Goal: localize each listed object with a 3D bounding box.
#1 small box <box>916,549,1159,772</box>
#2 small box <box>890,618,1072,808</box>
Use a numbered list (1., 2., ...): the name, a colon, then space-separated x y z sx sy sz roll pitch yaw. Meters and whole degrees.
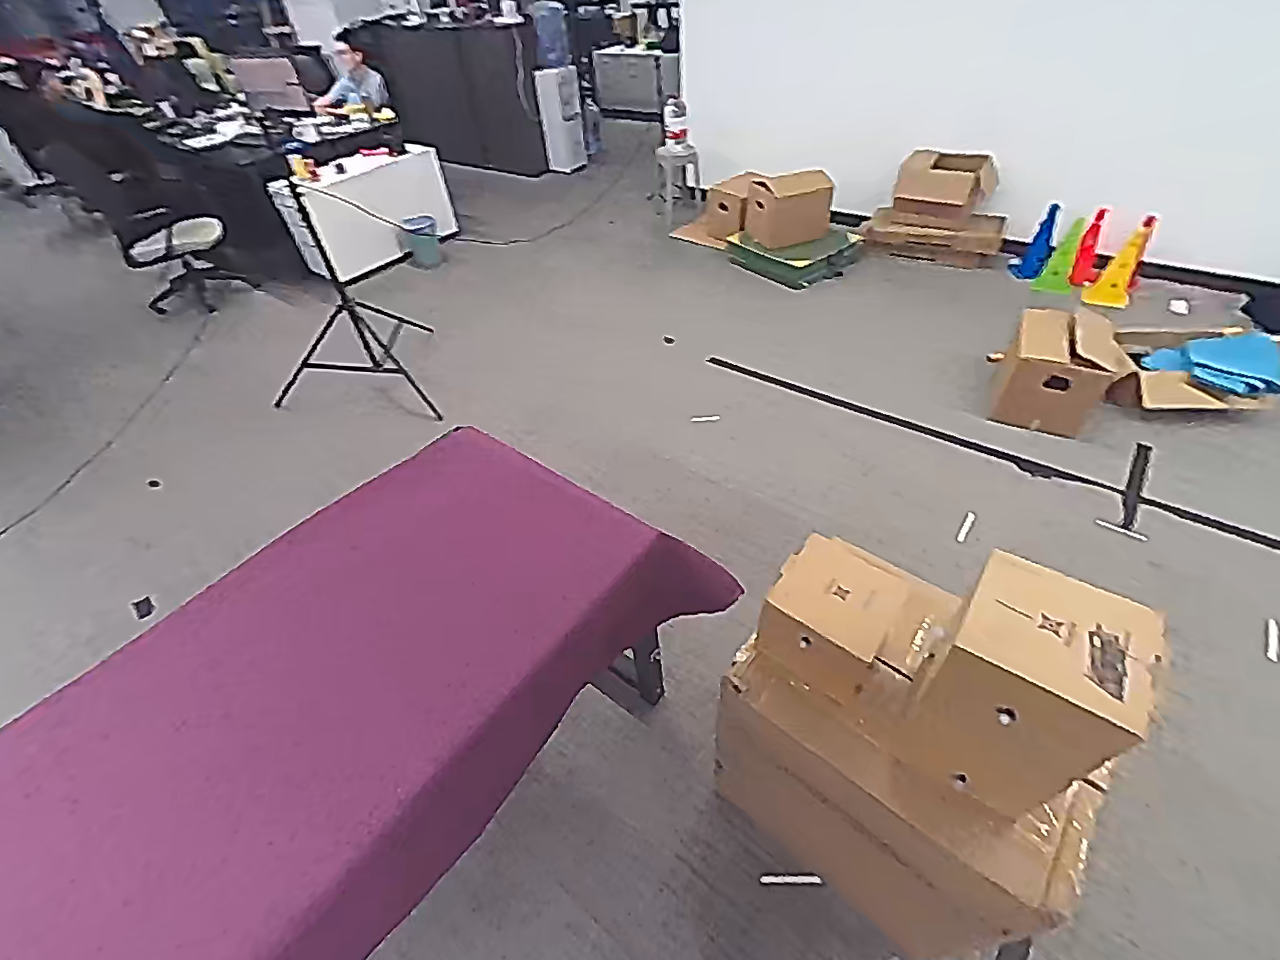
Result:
1. small box: 0.470 0.223 0.660 0.179 0.176 0.168 25 53 30
2. small box: 0.488 0.338 0.778 0.179 0.176 0.168 22 52 26
